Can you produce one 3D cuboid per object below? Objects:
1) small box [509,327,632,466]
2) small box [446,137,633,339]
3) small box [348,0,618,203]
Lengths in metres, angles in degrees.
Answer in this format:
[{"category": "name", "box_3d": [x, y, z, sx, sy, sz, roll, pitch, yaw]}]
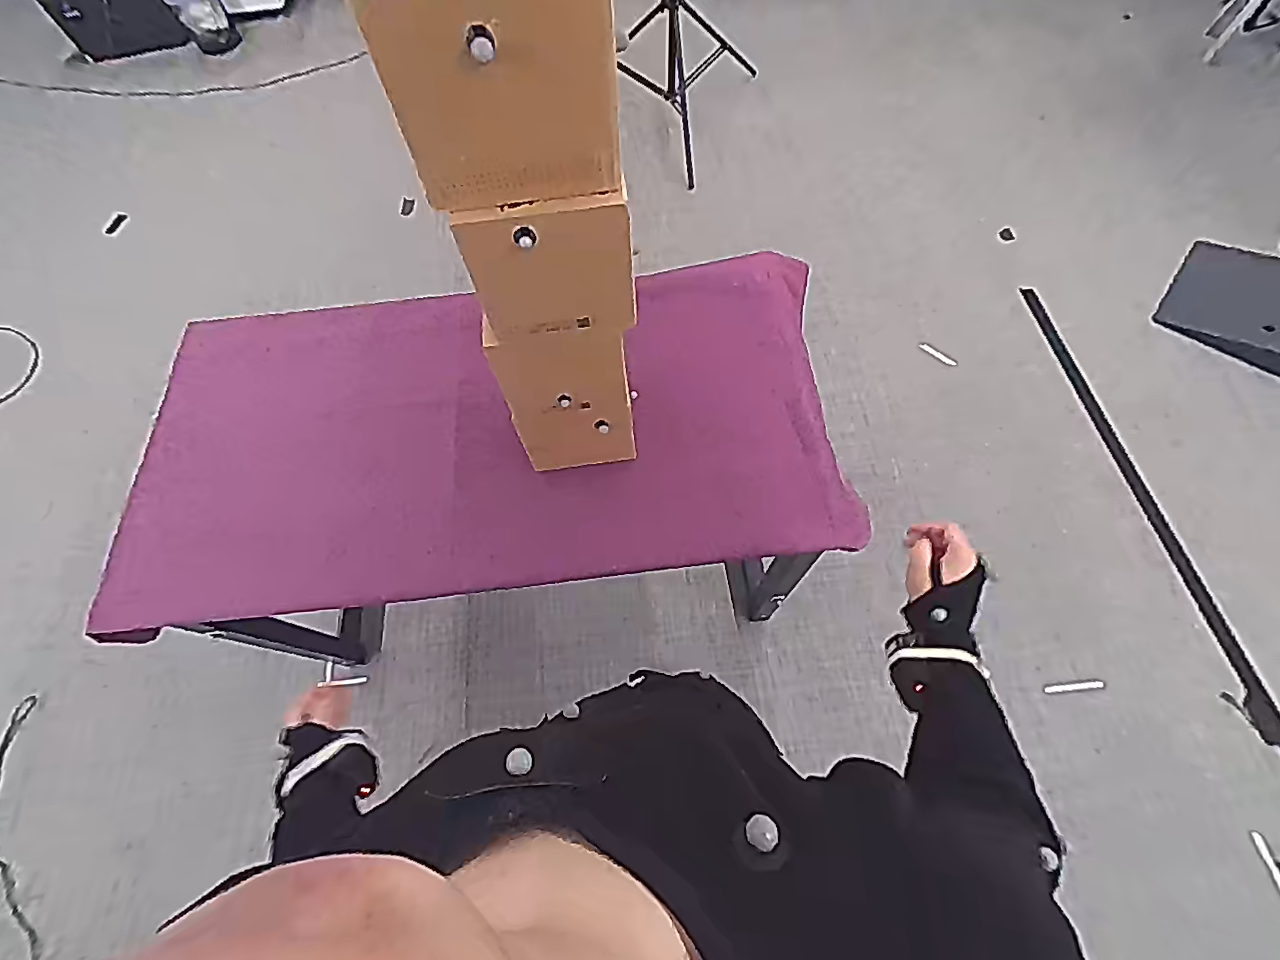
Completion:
[{"category": "small box", "box_3d": [-0.107, -0.138, 0.886, 0.179, 0.176, 0.168, -7, 64, -1]}, {"category": "small box", "box_3d": [-0.099, -0.283, 0.592, 0.168, 0.176, 0.179, -8, 64, -1]}, {"category": "small box", "box_3d": [-0.113, -0.363, 0.451, 0.179, 0.176, 0.168, -8, 64, -1]}]
